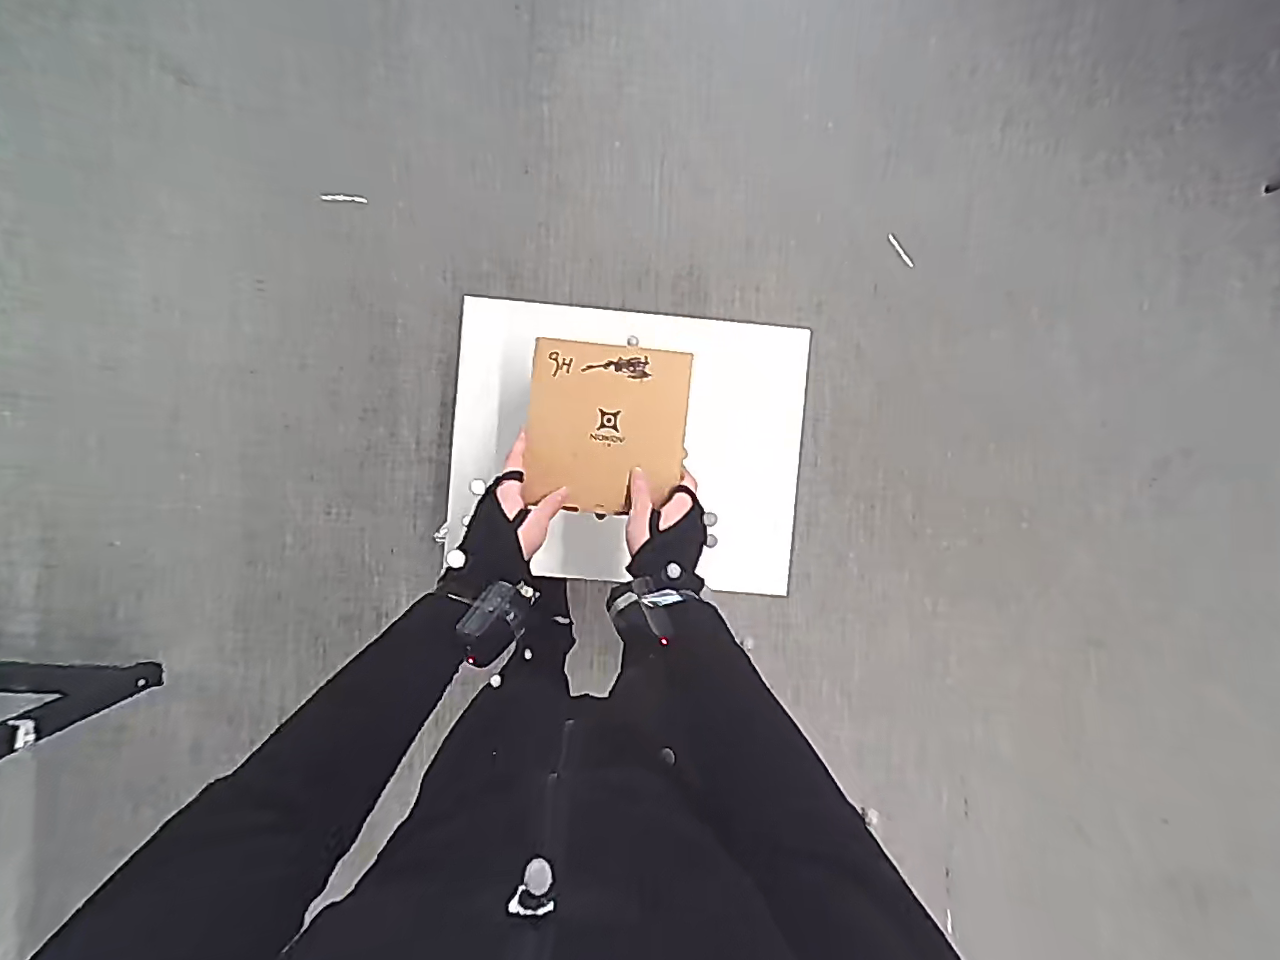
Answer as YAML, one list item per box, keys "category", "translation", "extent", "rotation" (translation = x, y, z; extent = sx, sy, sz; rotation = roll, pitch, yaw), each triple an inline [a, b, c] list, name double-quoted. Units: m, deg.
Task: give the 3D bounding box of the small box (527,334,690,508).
- category: "small box"
  translation: [-0.034, -0.064, 0.650]
  extent: [0.168, 0.176, 0.179]
  rotation: [3, 91, -2]
